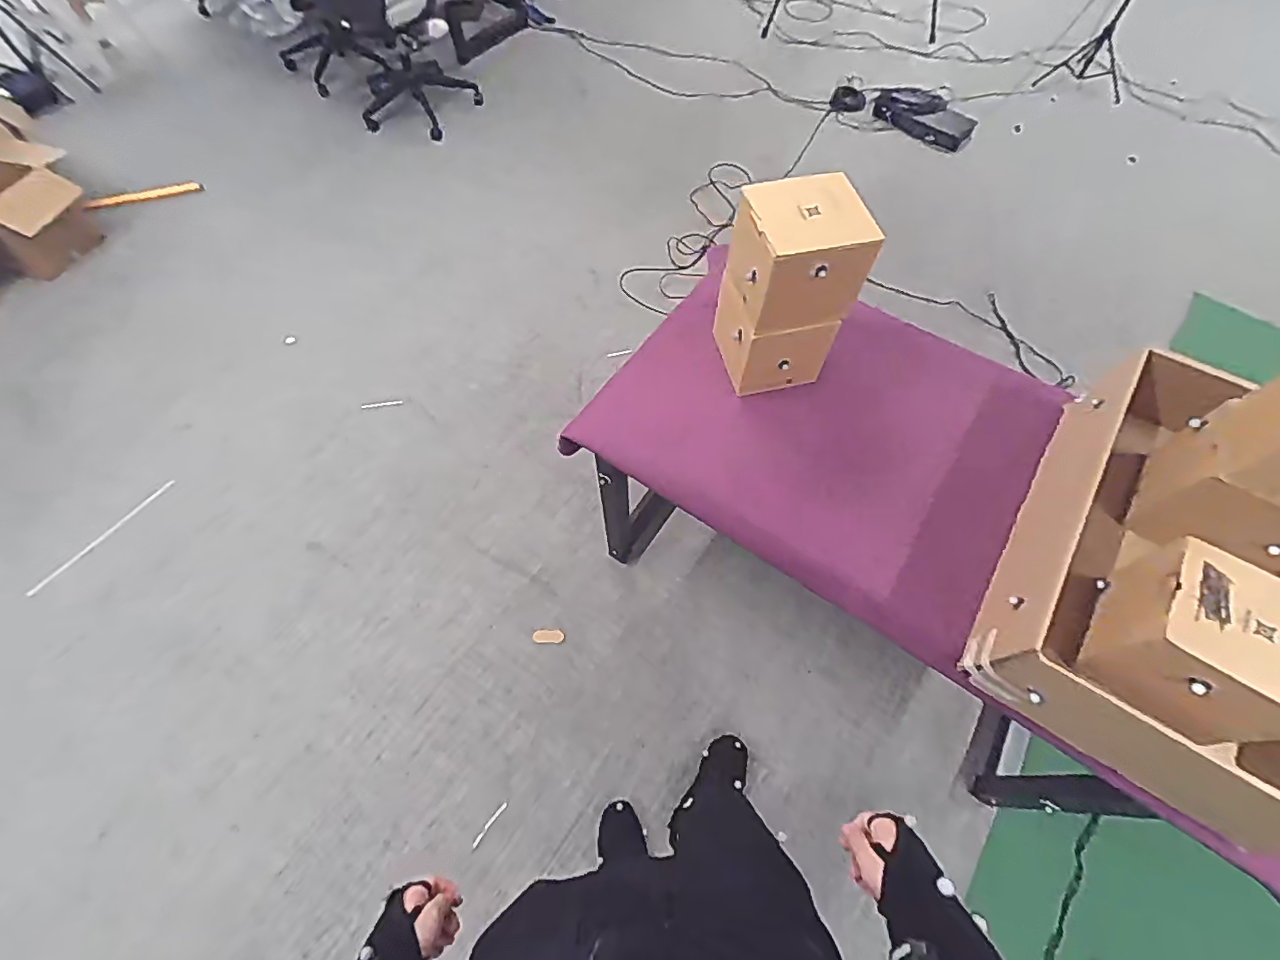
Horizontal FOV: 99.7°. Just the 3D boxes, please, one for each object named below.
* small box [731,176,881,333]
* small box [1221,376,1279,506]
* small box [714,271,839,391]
[{"bbox_3d":[0.259,-0.366,0.897,0.179,0.176,0.168,-11,63,-6],"label":"small box"},{"bbox_3d":[0.892,-0.053,0.668,0.168,0.176,0.179,33,67,18],"label":"small box"},{"bbox_3d":[0.251,-0.288,1.040,0.168,0.176,0.179,-11,62,-7],"label":"small box"}]
